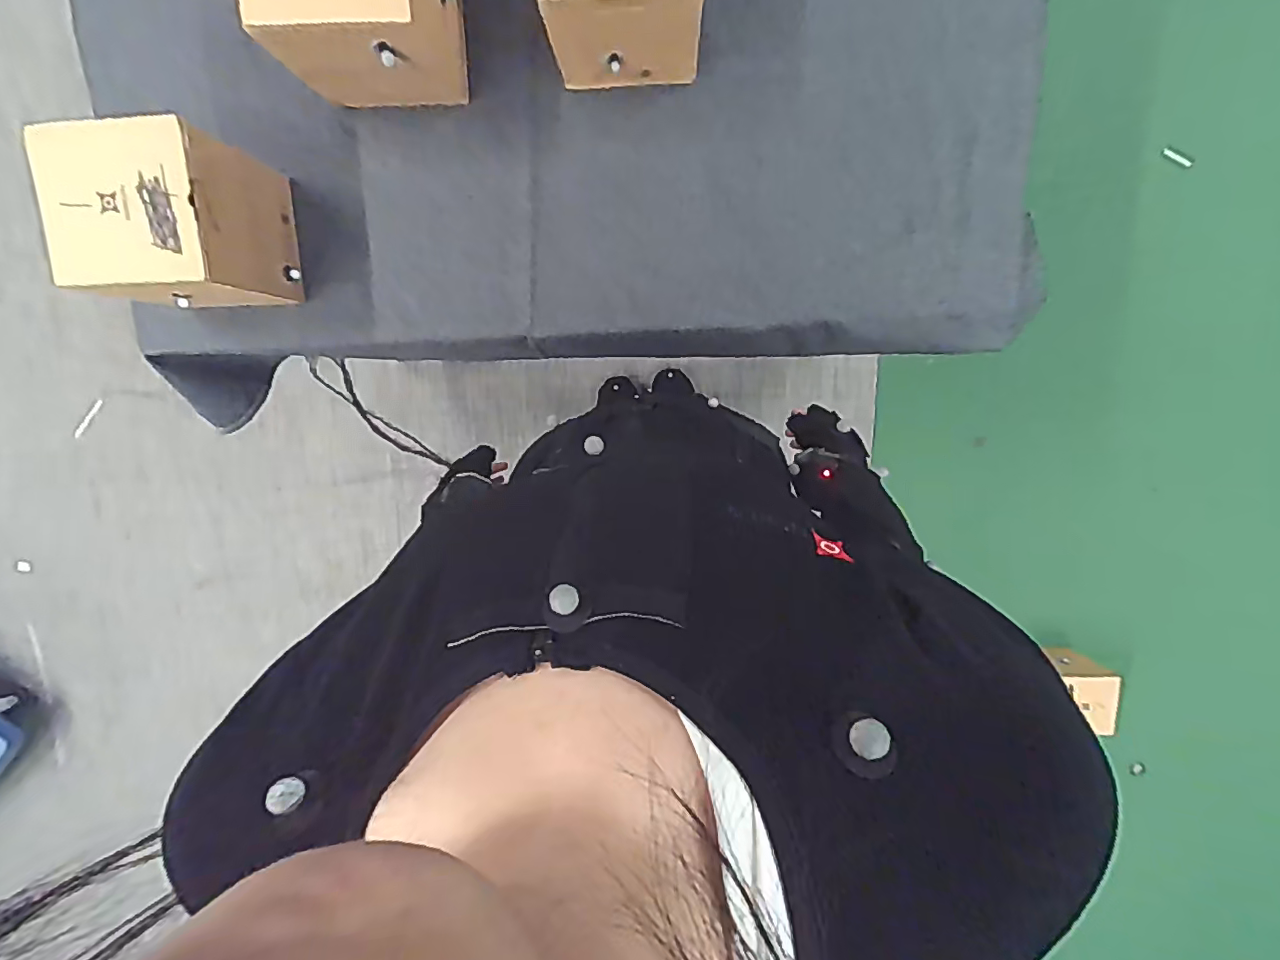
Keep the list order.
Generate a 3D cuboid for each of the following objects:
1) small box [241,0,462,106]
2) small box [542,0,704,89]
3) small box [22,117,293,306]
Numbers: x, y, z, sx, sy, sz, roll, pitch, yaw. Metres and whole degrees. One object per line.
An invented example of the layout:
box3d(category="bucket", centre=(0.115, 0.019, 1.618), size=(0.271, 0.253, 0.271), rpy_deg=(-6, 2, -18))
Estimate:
box3d(category="small box", centre=(-0.308, -0.545, 0.601), size=(0.179, 0.176, 0.168), rpy_deg=(0, 101, 2))
box3d(category="small box", centre=(-0.019, -0.569, 0.591), size=(0.168, 0.176, 0.179), rpy_deg=(-1, 101, 2))
box3d(category="small box", centre=(-0.552, -0.307, 0.652), size=(0.179, 0.176, 0.168), rpy_deg=(-1, 100, 2))
